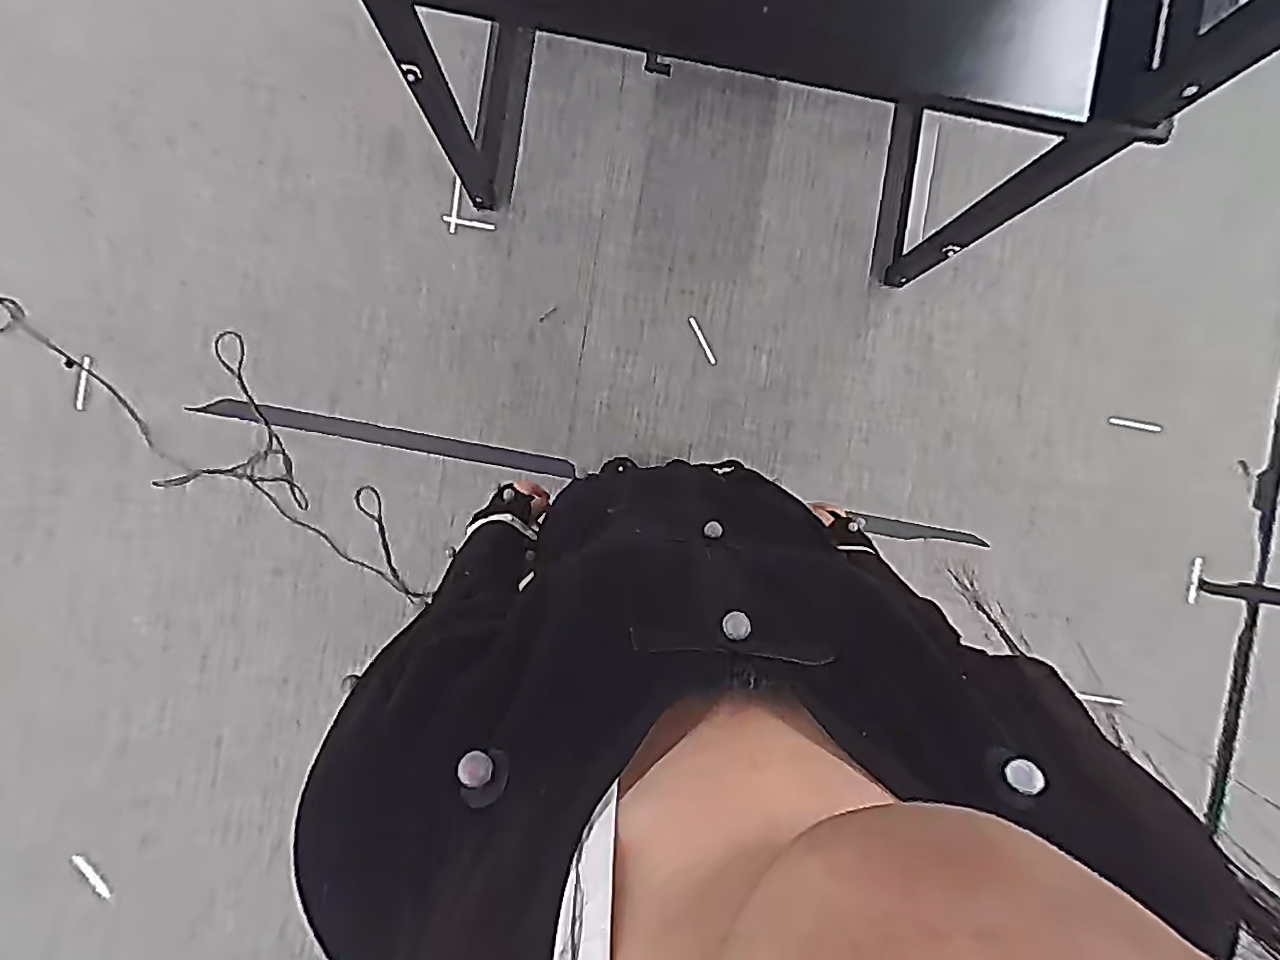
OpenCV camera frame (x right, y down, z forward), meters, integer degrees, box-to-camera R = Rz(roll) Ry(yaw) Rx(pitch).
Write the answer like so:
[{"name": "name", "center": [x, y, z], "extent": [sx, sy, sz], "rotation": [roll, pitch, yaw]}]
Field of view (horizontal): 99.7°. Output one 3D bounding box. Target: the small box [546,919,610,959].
[{"name": "small box", "center": [-0.165, 1.302, 1.426], "extent": [0.168, 0.176, 0.179], "rotation": [0, 91, -4]}]
